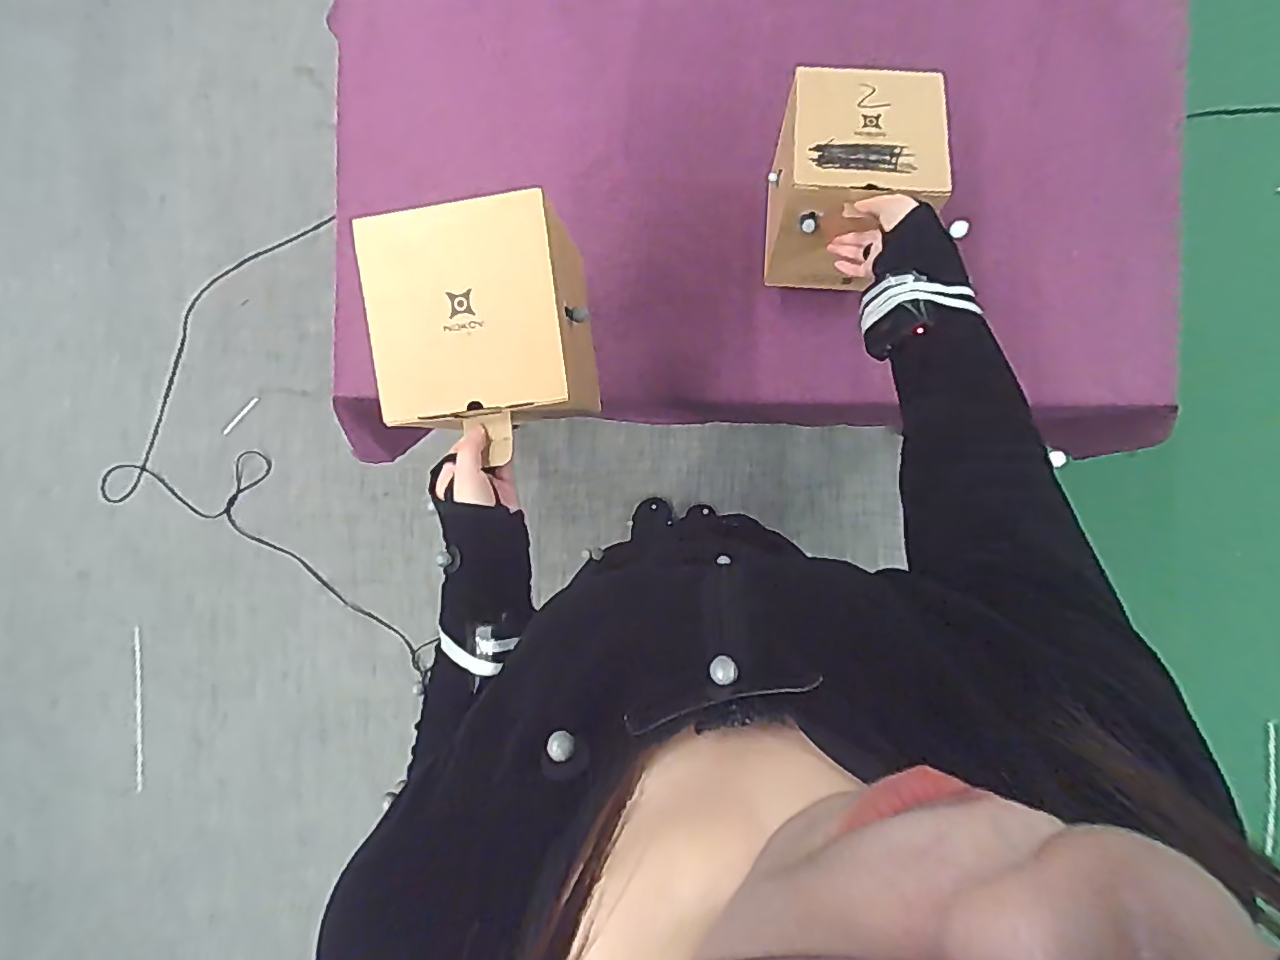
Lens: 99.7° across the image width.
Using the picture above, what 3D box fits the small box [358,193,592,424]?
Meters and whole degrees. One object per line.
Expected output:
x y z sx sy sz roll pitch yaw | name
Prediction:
-0.148 -0.154 0.546 0.168 0.176 0.179 -7 95 5 | small box
